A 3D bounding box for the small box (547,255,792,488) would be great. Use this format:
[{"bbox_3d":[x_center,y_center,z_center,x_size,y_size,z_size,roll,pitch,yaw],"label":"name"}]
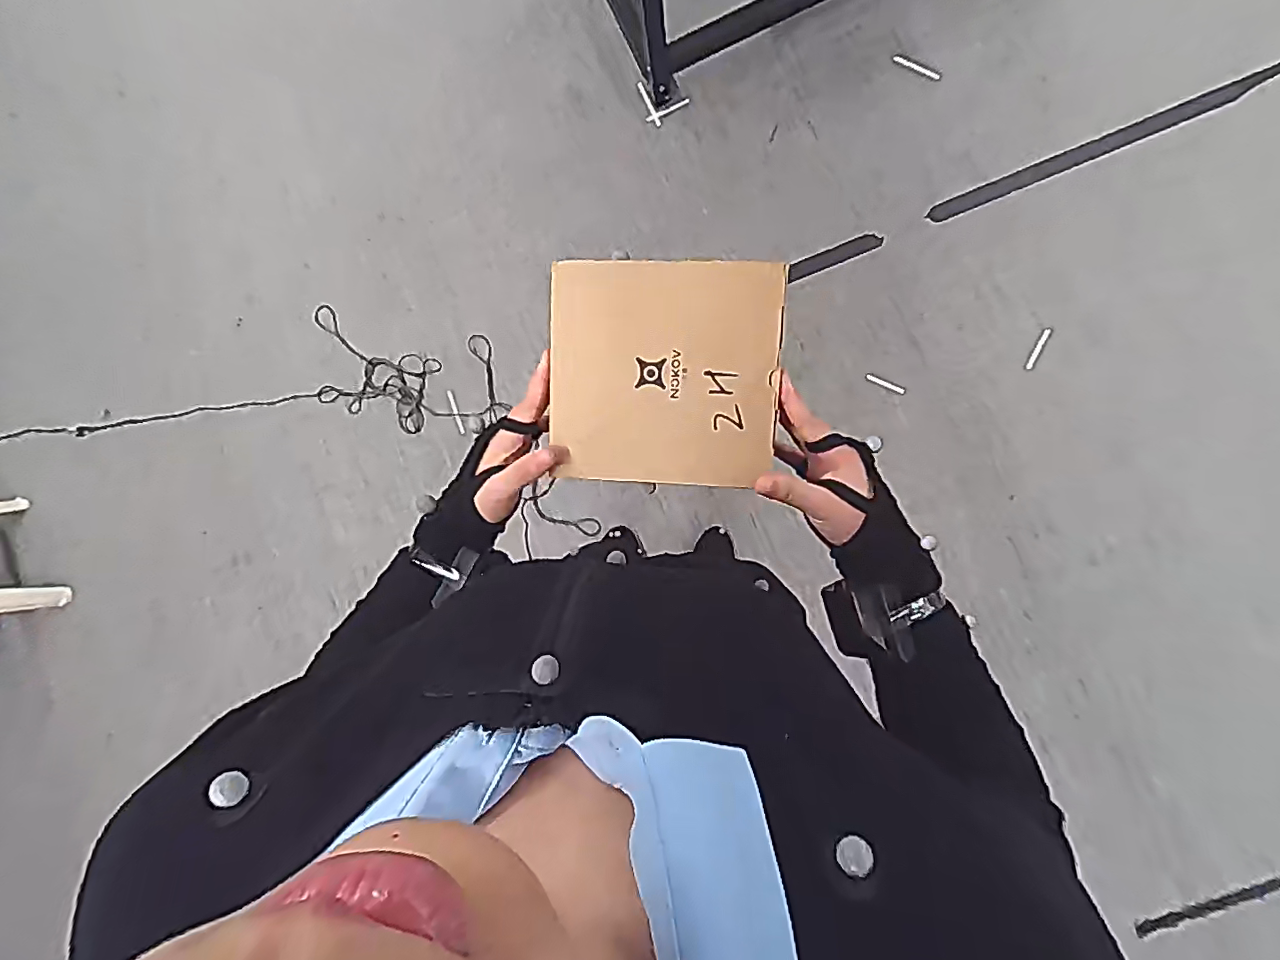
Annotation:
[{"bbox_3d":[0.027,-0.092,0.479,0.179,0.176,0.168,4,99,6],"label":"small box"}]
